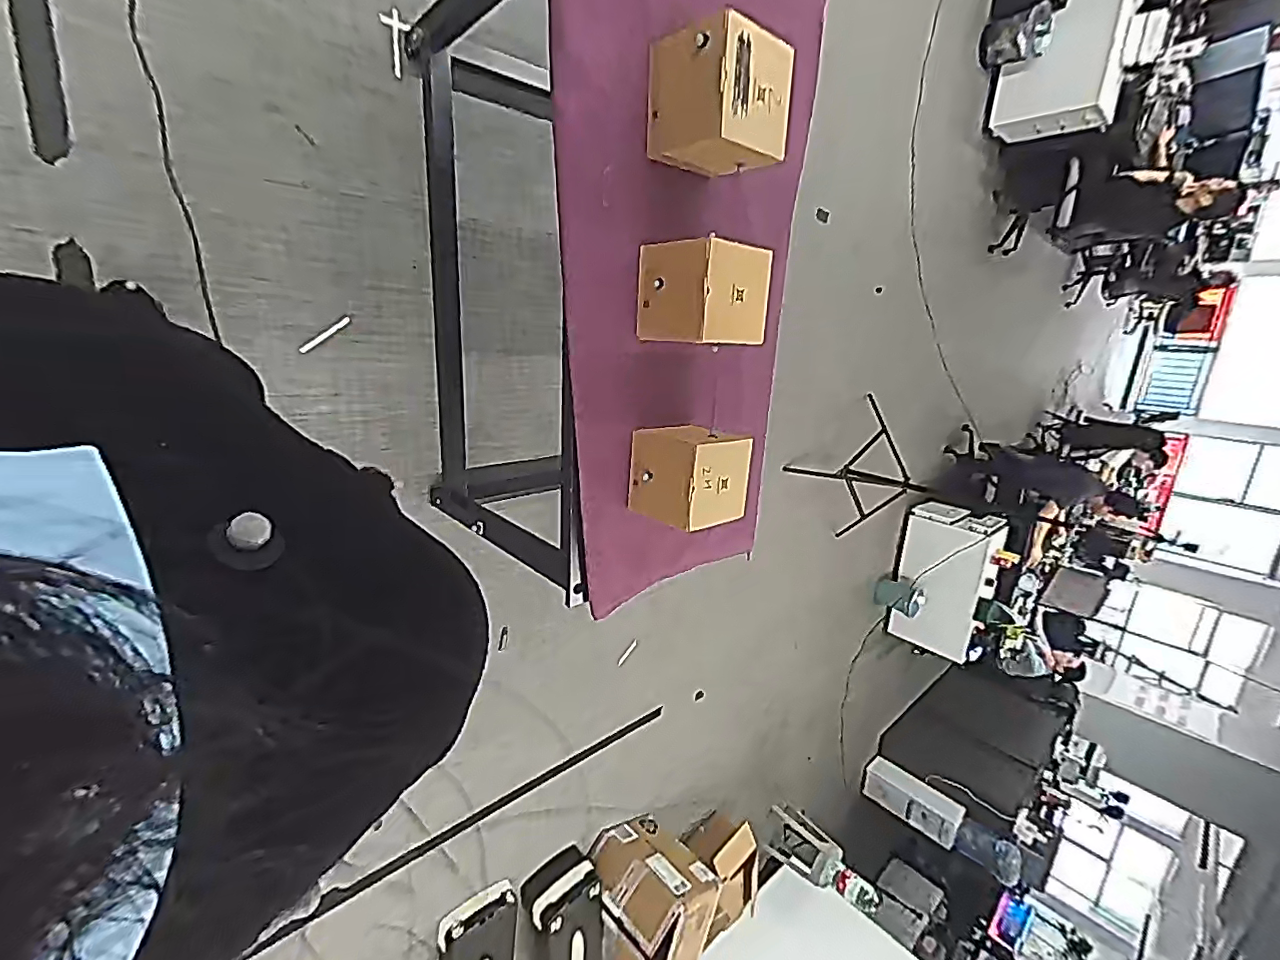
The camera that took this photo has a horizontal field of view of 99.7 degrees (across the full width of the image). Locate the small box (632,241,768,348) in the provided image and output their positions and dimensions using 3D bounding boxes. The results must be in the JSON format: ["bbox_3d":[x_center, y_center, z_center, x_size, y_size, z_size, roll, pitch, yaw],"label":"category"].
[{"bbox_3d":[0.108,-0.337,1.000,0.179,0.176,0.168,-11,111,-41],"label":"small box"}]

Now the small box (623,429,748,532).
[{"bbox_3d":[0.089,-0.009,1.085,0.179,0.176,0.168,-9,109,-43],"label":"small box"}]
